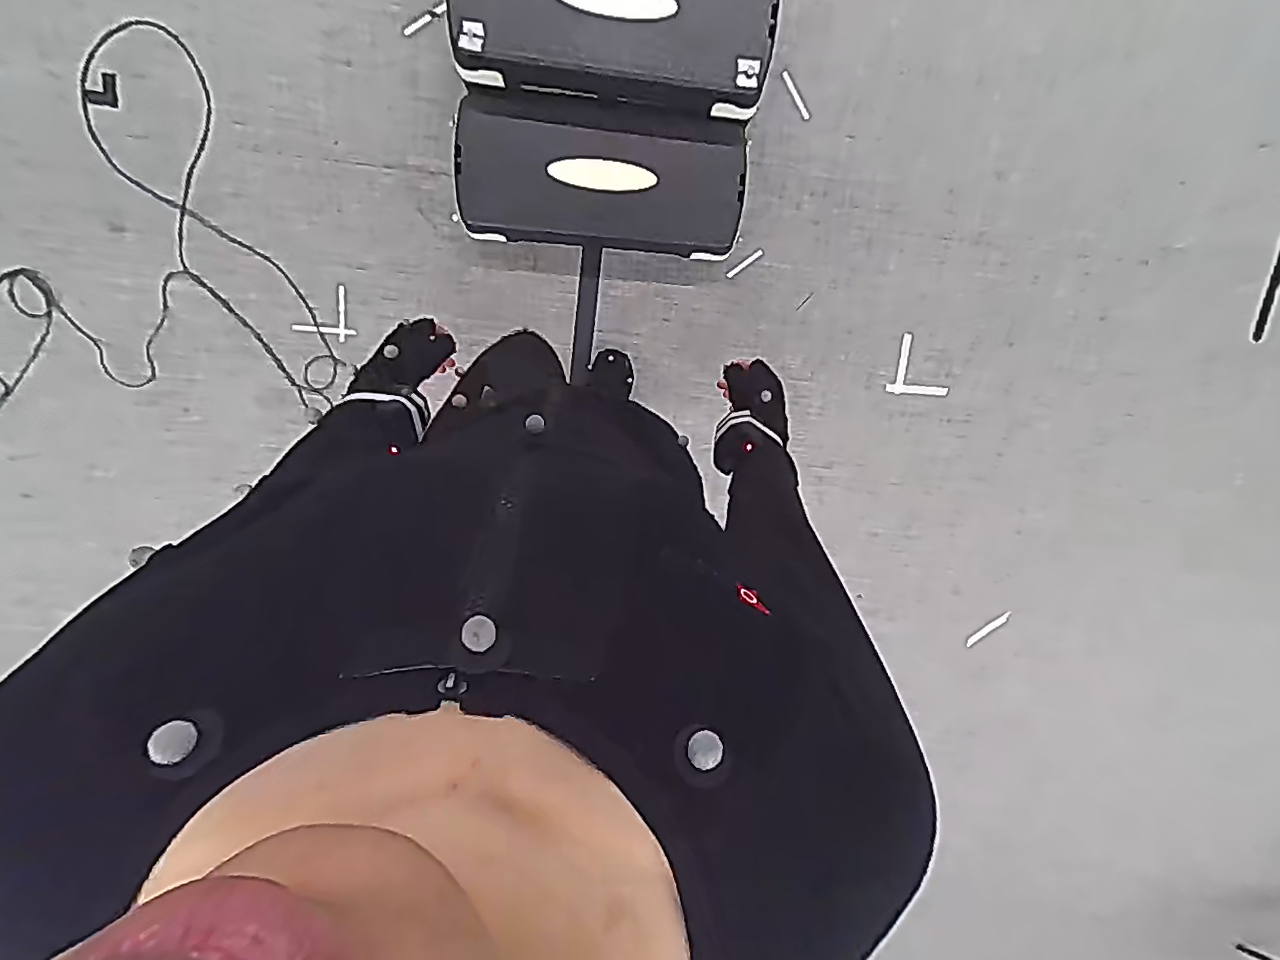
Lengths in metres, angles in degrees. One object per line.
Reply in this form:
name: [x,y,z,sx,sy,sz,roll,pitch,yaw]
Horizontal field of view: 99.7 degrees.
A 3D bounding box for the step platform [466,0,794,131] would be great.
step platform: [-0.020,-0.979,1.167,0.684,0.204,0.286,4,103,-5]
